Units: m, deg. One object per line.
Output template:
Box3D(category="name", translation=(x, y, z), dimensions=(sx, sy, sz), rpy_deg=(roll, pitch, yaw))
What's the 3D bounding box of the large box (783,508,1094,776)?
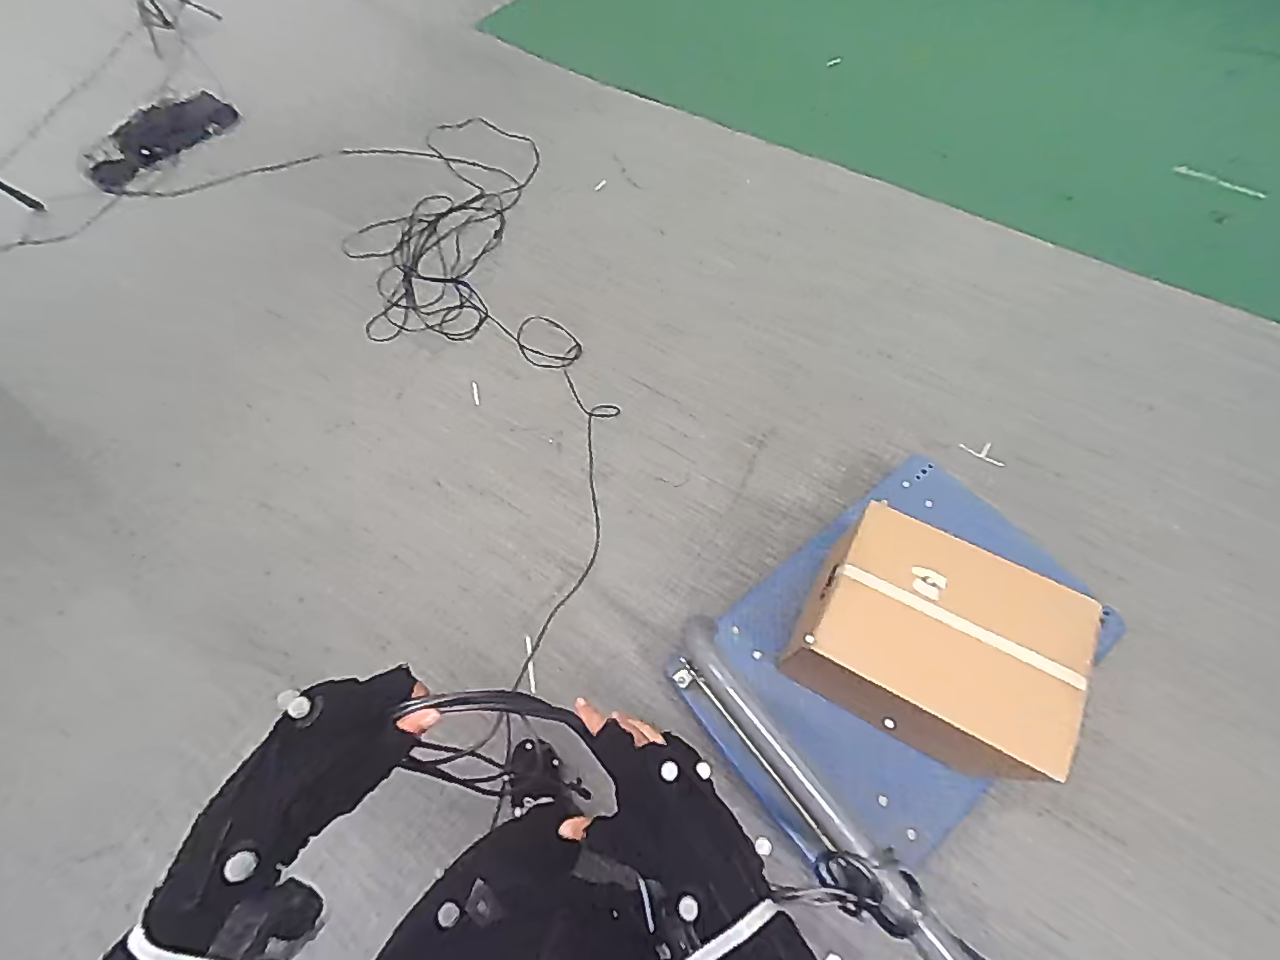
Box3D(category="large box", translation=(0.546, 0.317, 1.057), dimensions=(0.408, 0.320, 0.320), rpy_deg=(26, 67, 15))
